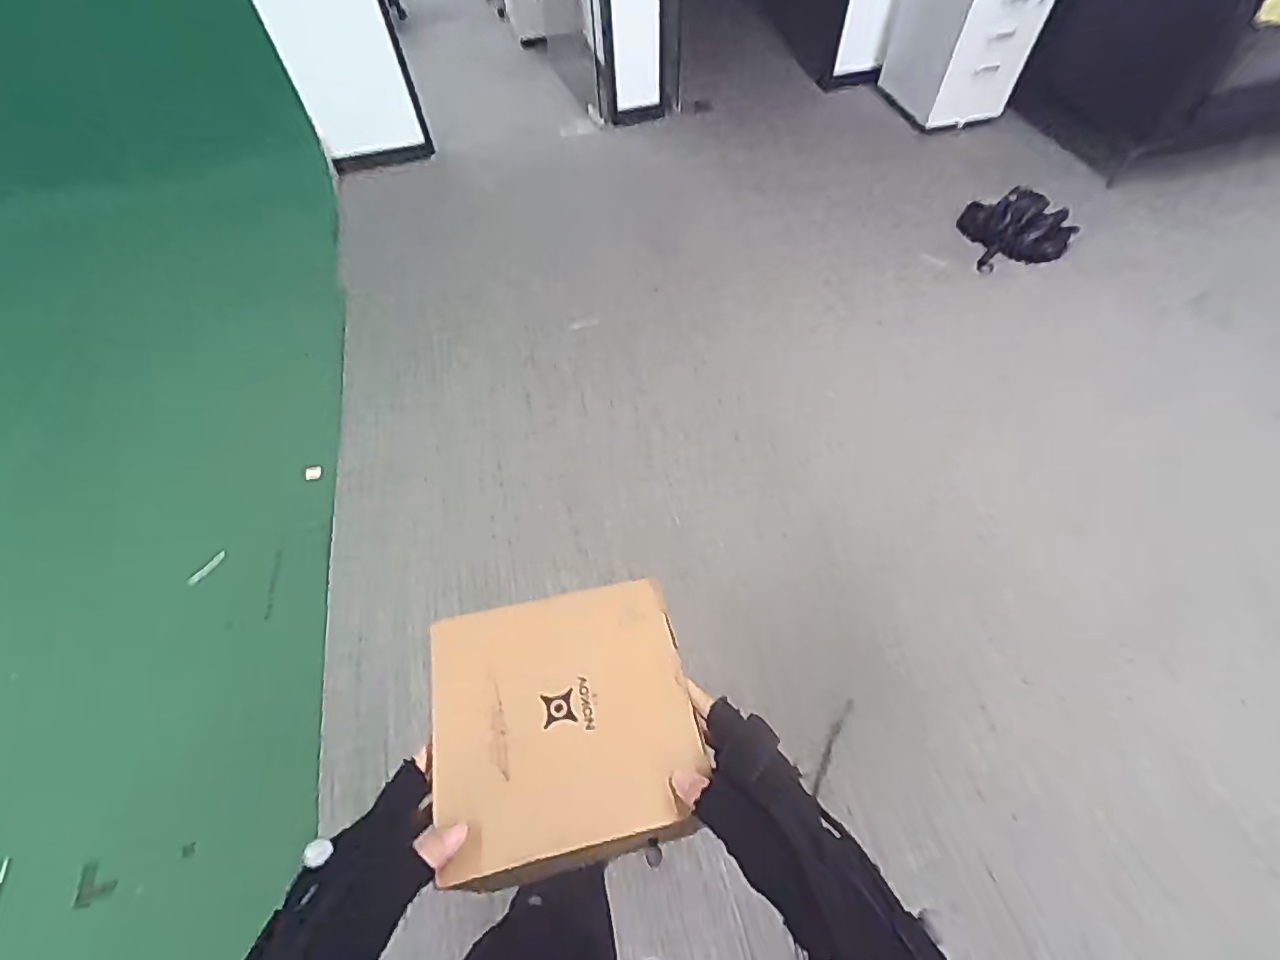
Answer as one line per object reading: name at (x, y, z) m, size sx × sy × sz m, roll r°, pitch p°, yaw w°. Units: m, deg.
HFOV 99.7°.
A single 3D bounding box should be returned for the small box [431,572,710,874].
small box at (-0.058, 0.200, 0.442) m, size 0.179 × 0.176 × 0.168 m, roll -11°, pitch 53°, yaw -9°
